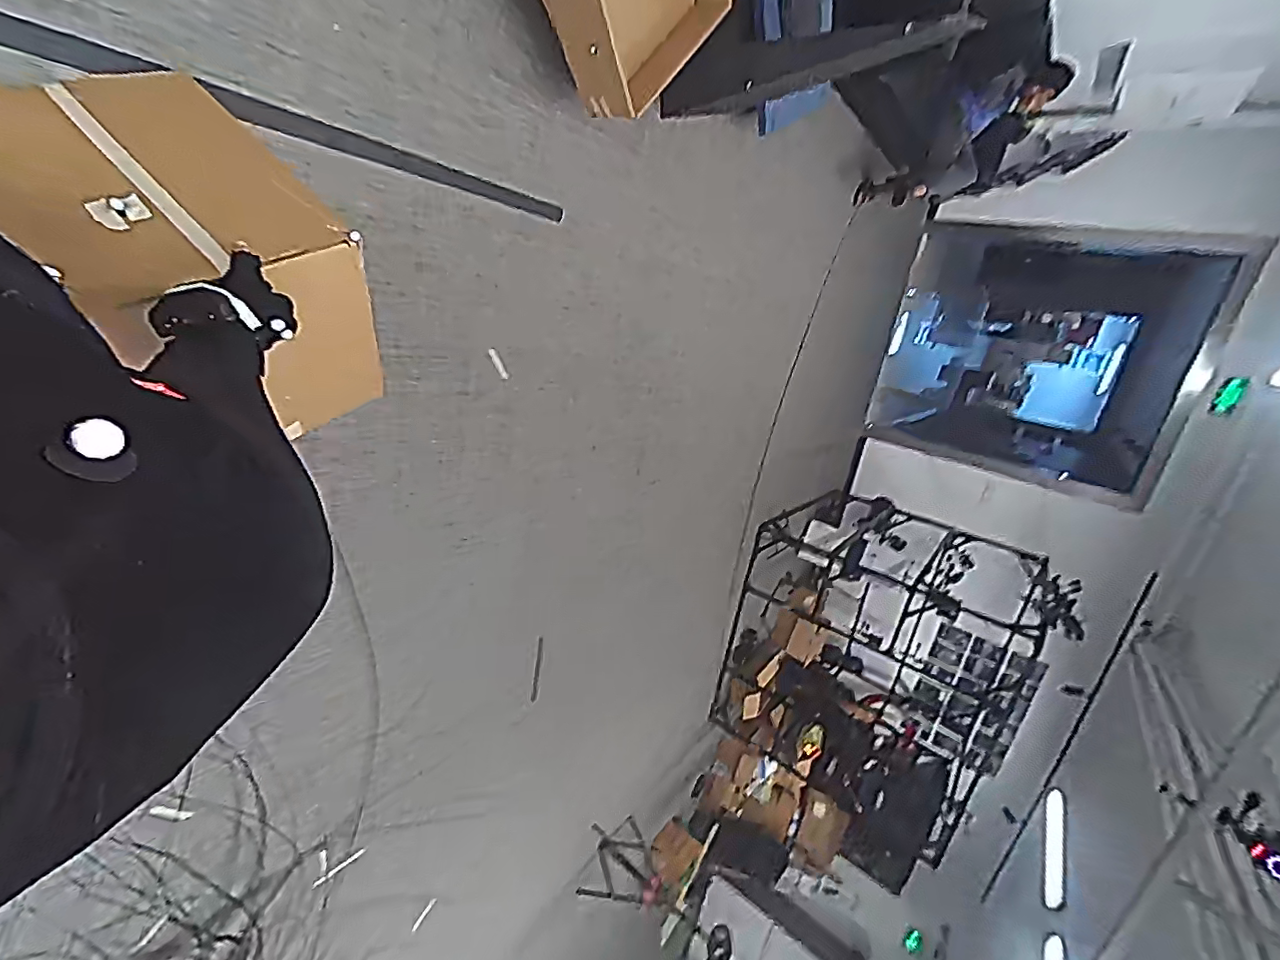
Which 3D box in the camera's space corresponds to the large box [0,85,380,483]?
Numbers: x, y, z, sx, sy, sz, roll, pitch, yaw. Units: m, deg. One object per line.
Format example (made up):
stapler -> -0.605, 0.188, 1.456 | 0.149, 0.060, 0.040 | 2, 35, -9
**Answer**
large box -> -0.646, -0.277, 0.778 | 0.320, 0.408, 0.320 | -40, 169, -33
